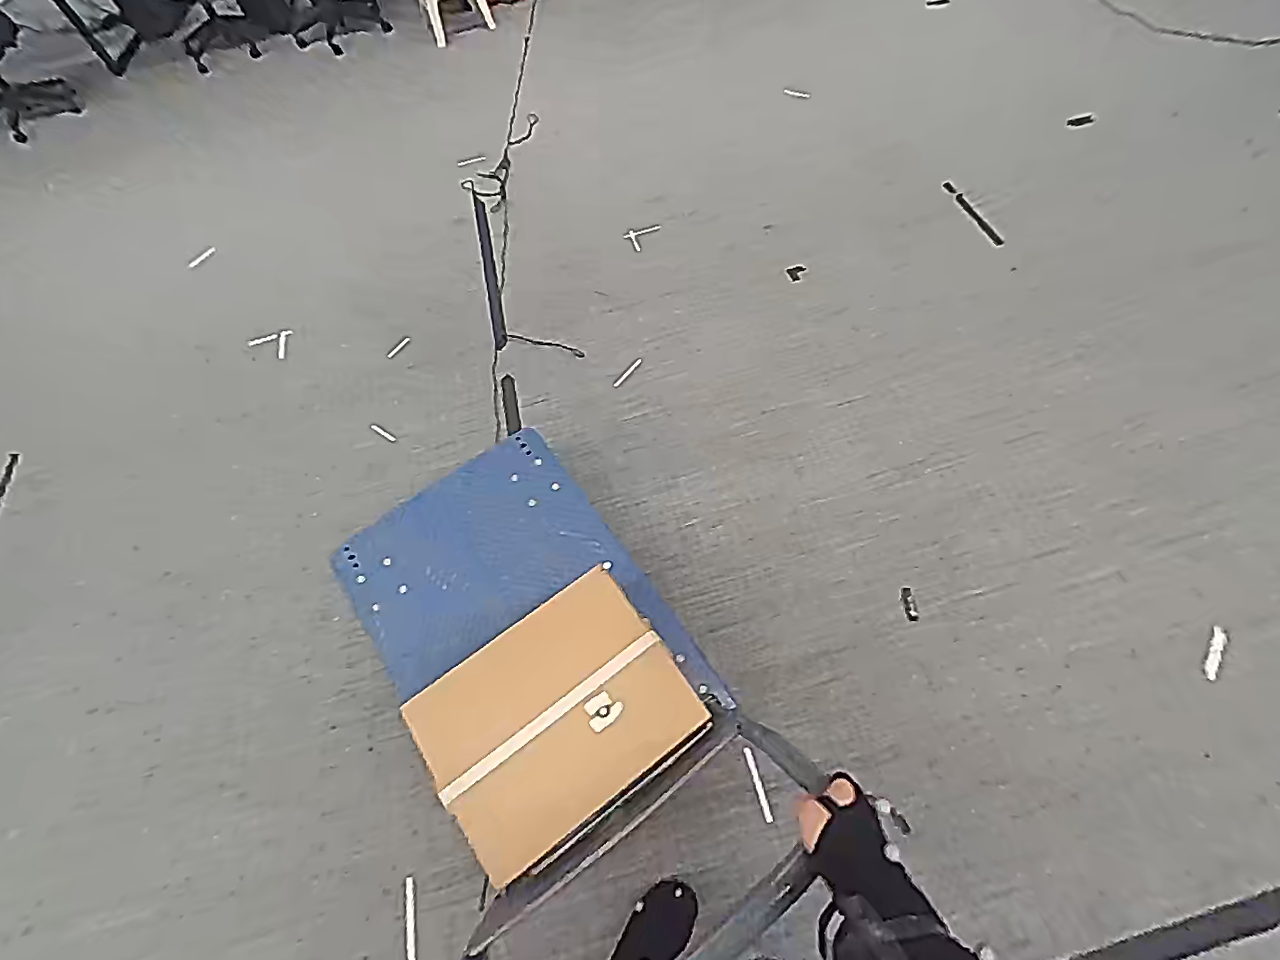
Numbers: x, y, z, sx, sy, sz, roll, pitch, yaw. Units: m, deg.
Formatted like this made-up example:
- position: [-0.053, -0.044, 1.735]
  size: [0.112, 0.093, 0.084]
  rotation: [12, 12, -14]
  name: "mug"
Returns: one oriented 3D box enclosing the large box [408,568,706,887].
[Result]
- position: [-0.136, 0.436, 1.021]
  size: [0.408, 0.320, 0.320]
  rotation: [-35, 74, -12]
  name: "large box"
